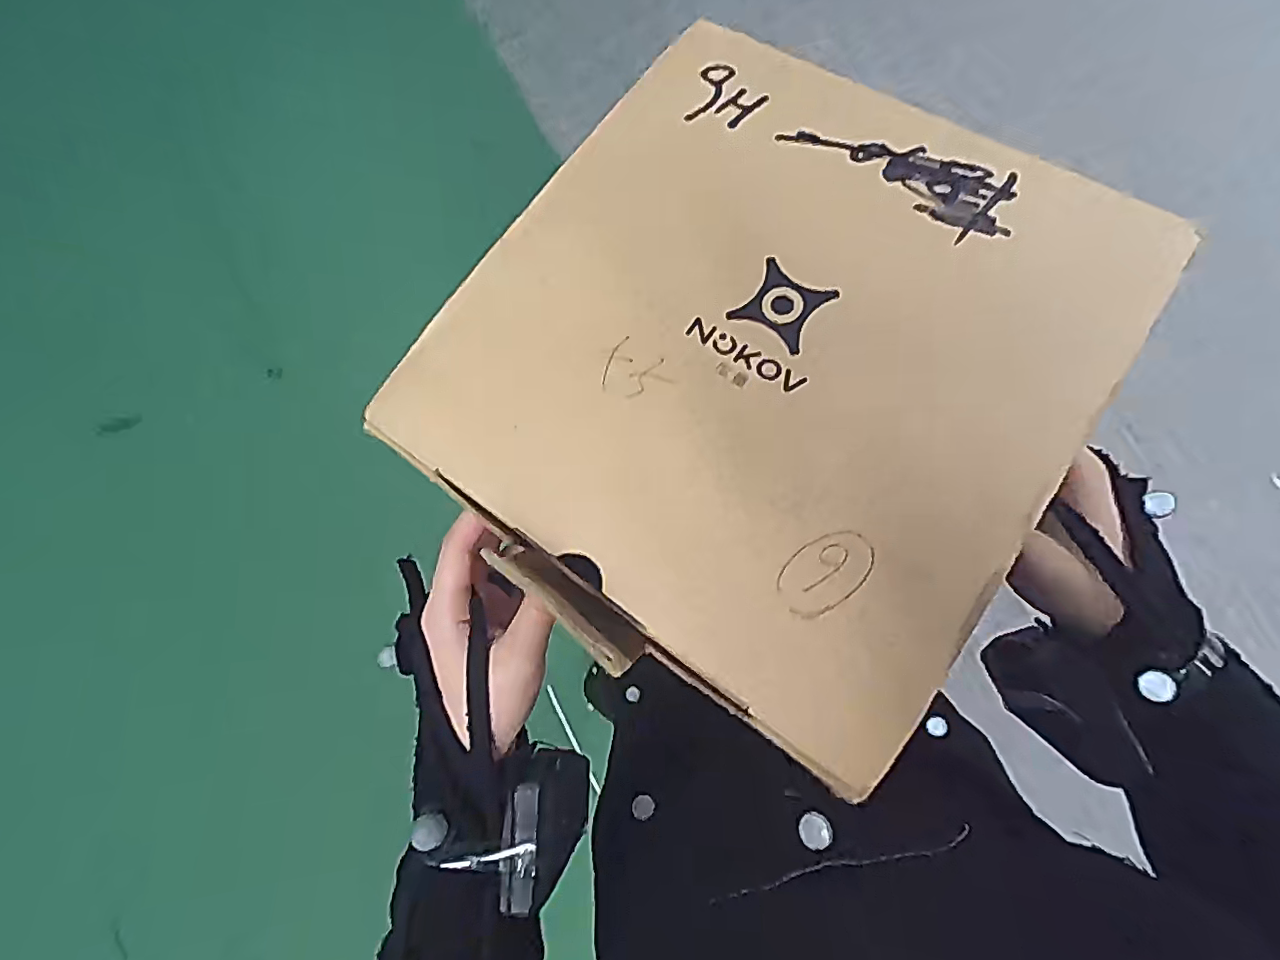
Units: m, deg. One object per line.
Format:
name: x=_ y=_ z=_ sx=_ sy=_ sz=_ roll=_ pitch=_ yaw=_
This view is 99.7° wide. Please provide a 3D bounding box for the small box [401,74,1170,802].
small box: x=0.047 y=-0.012 z=0.239 sx=0.168 sy=0.176 sz=0.179 roll=35 pitch=82 yaw=14
